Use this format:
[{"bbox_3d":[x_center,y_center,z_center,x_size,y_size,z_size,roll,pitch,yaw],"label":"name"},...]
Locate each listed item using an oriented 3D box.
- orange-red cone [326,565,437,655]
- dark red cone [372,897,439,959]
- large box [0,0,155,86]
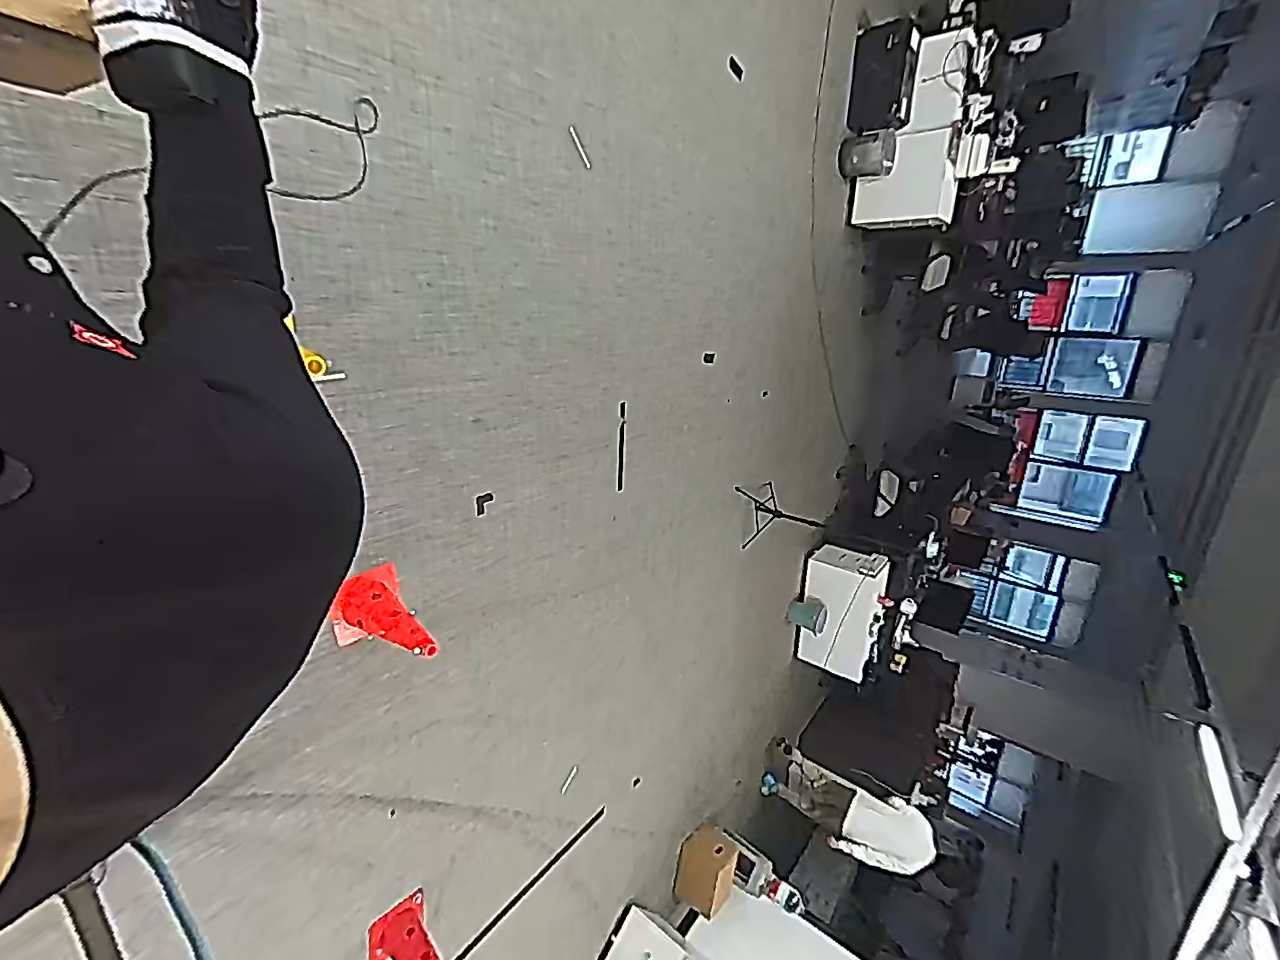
[{"bbox_3d":[-0.677,0.399,1.492,0.198,0.360,0.199,-24,119,-48],"label":"orange-red cone"},{"bbox_3d":[-0.729,1.655,1.825,0.201,0.394,0.202,-11,111,-50],"label":"dark red cone"},{"bbox_3d":[-0.556,-0.443,0.250,0.408,0.320,0.320,-19,123,-52],"label":"large box"}]
